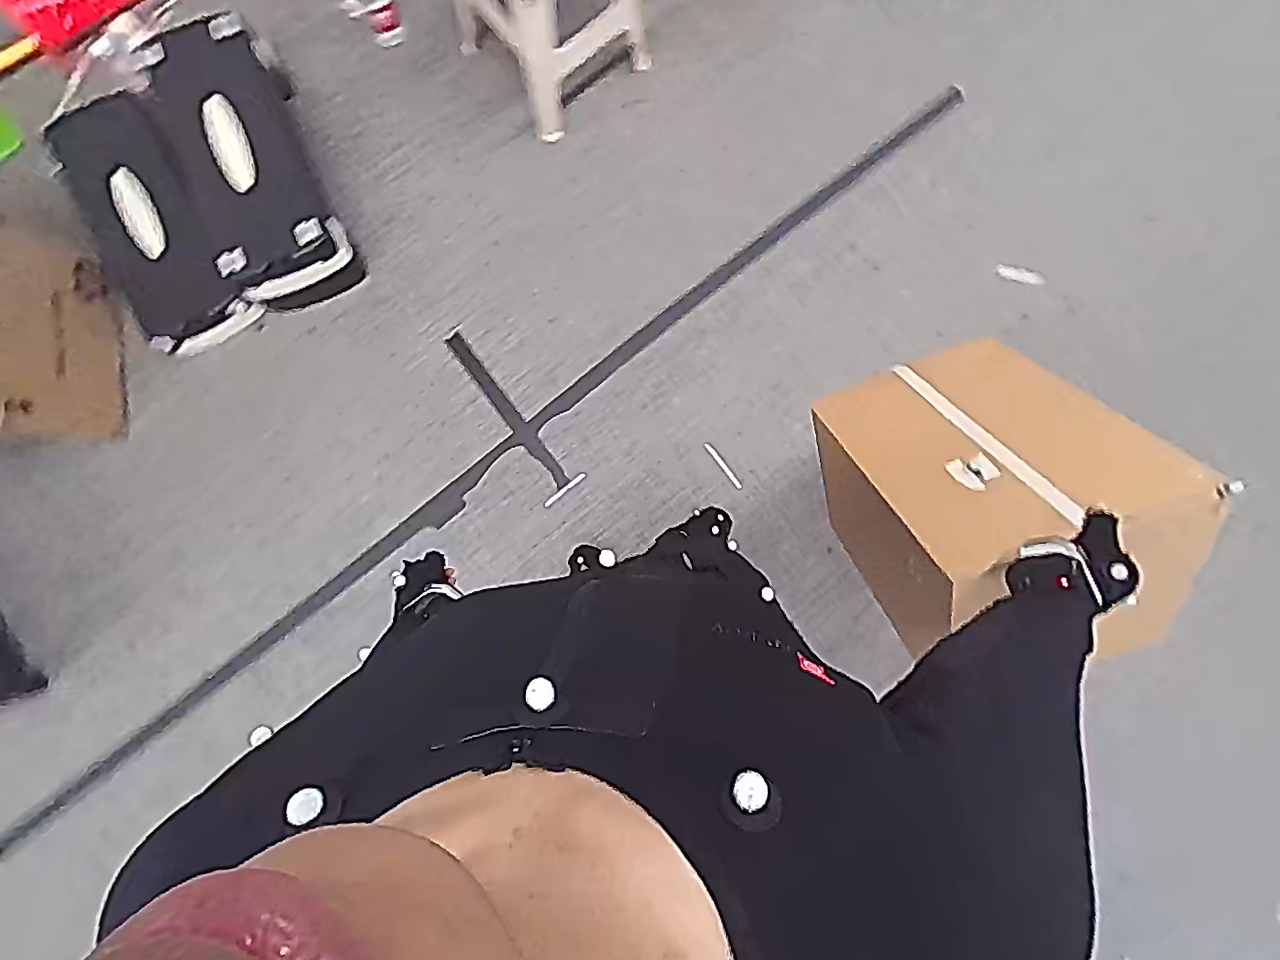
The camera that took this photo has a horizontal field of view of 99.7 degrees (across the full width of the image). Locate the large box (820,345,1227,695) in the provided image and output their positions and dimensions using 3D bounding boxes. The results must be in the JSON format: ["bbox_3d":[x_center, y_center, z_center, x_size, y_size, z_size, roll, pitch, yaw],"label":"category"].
[{"bbox_3d":[0.523,0.051,0.857,0.320,0.408,0.320,-20,130,5],"label":"large box"}]
